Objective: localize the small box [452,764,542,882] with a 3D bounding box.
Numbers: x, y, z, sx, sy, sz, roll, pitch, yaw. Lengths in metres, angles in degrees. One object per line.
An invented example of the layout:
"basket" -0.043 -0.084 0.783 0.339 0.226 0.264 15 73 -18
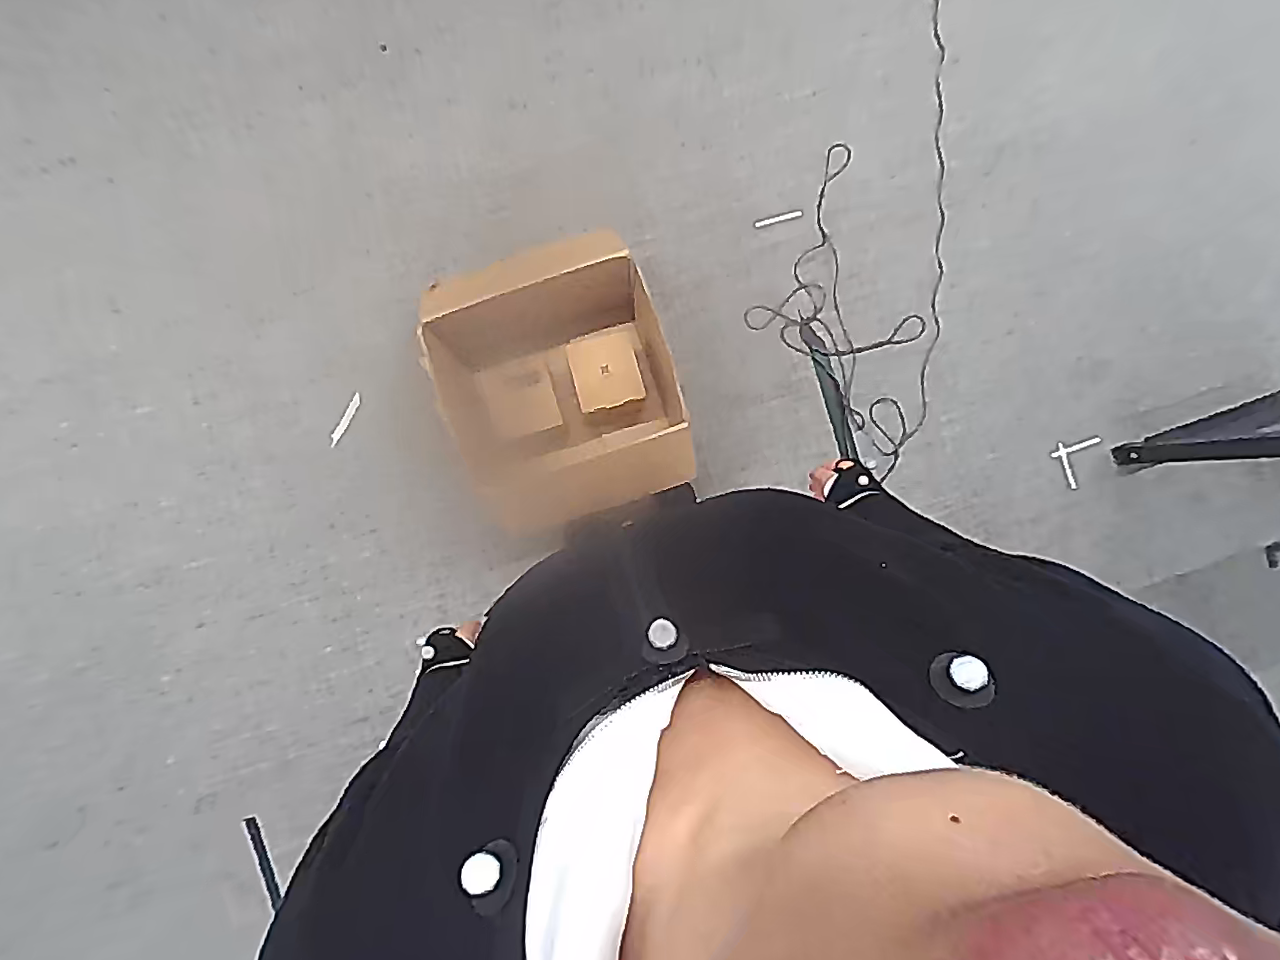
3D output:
"small box" -0.347 0.843 1.349 0.179 0.176 0.168 -13 90 -4
